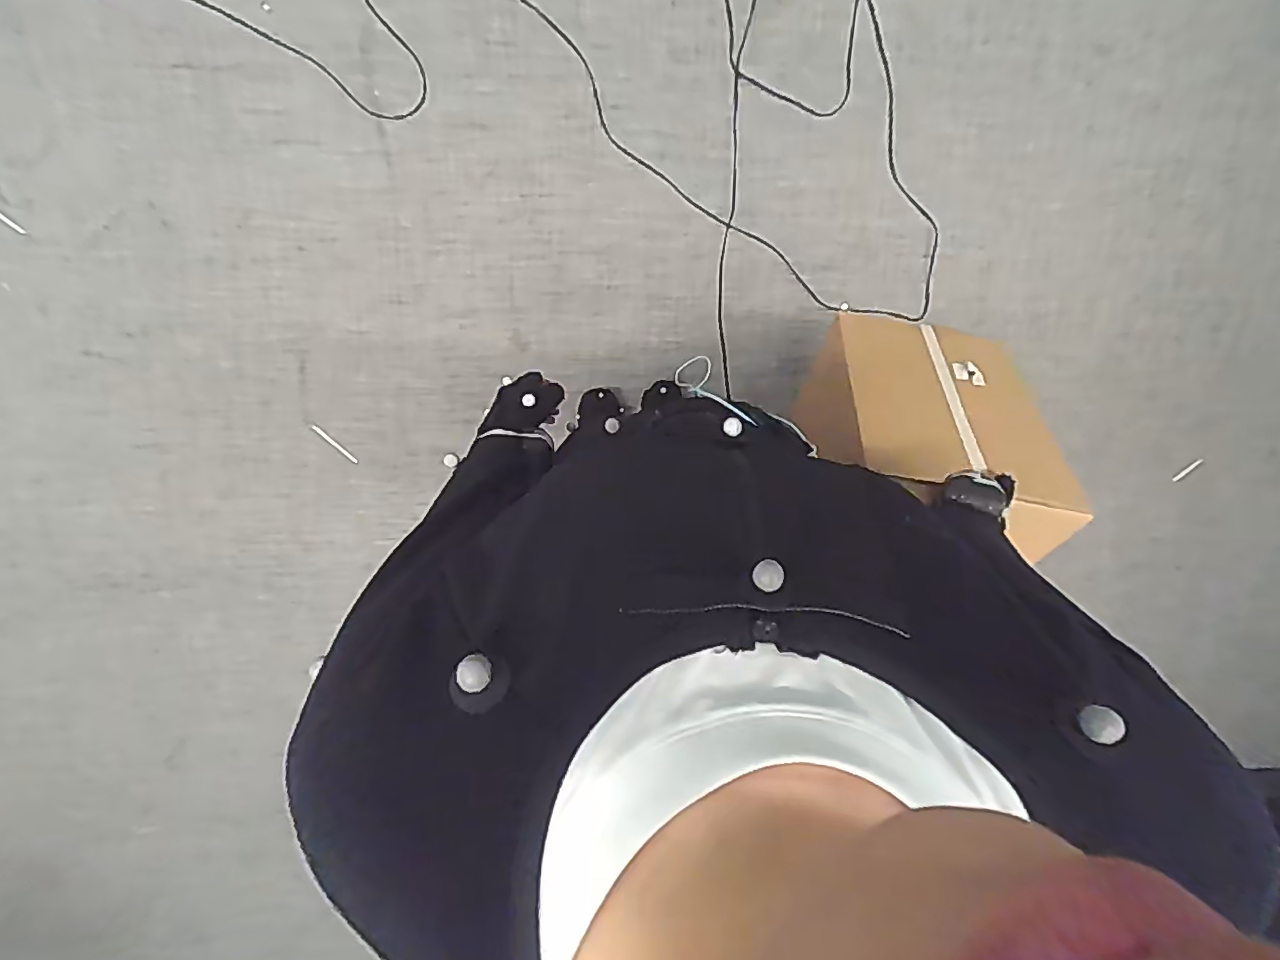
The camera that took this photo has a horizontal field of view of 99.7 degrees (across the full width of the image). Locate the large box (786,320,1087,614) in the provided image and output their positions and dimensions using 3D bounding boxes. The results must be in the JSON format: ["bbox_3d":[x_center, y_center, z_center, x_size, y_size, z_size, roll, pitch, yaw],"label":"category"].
[{"bbox_3d":[0.464,-0.025,0.969,0.320,0.408,0.320,11,139,0],"label":"large box"}]
